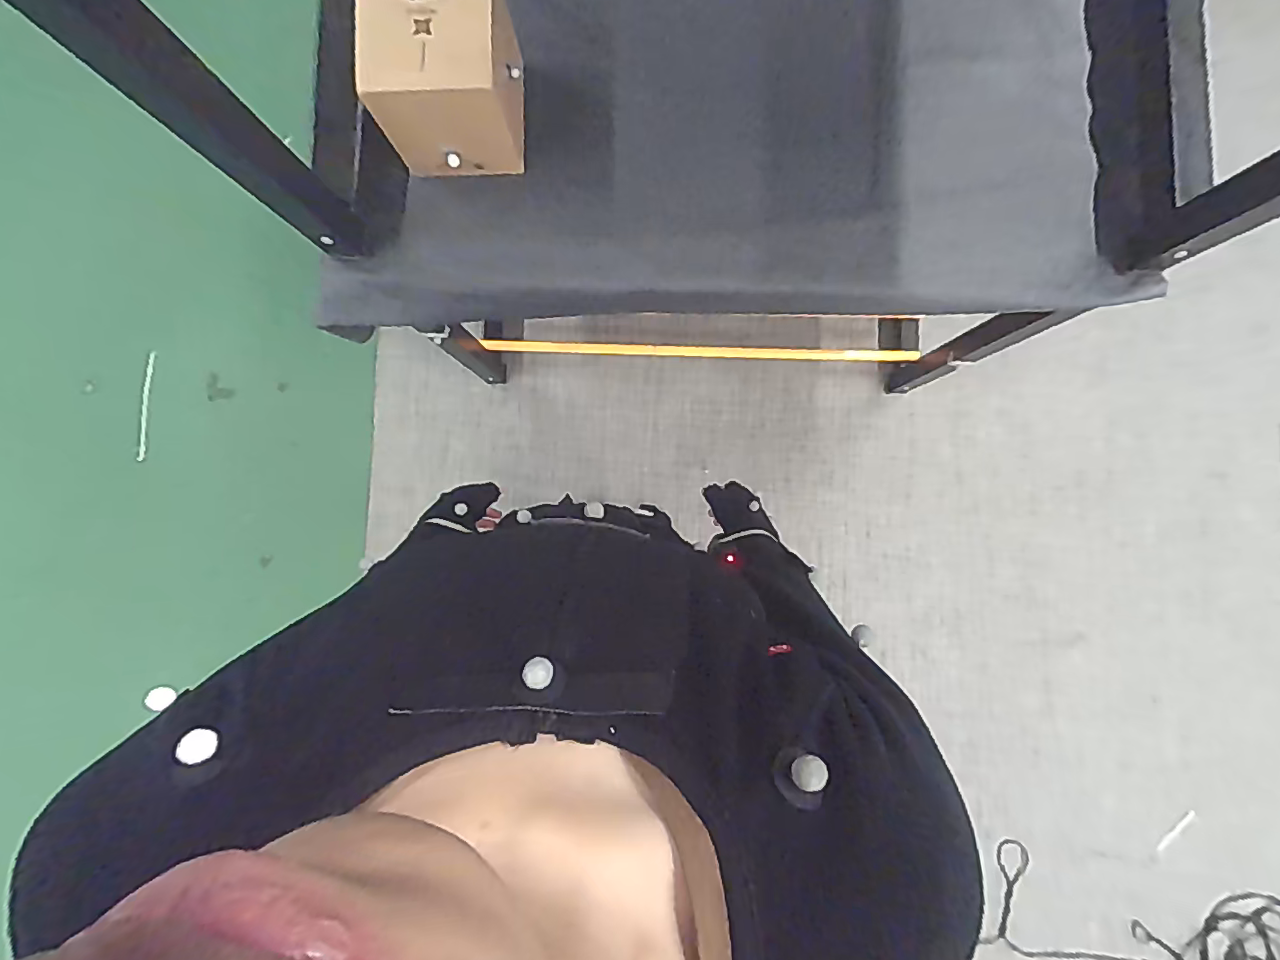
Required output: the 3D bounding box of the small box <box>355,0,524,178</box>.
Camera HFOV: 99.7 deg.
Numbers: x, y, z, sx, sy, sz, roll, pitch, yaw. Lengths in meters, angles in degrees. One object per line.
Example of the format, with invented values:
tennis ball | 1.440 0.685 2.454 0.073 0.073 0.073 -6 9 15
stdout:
small box | -0.256 -0.538 0.723 0.168 0.176 0.179 -1 87 1
